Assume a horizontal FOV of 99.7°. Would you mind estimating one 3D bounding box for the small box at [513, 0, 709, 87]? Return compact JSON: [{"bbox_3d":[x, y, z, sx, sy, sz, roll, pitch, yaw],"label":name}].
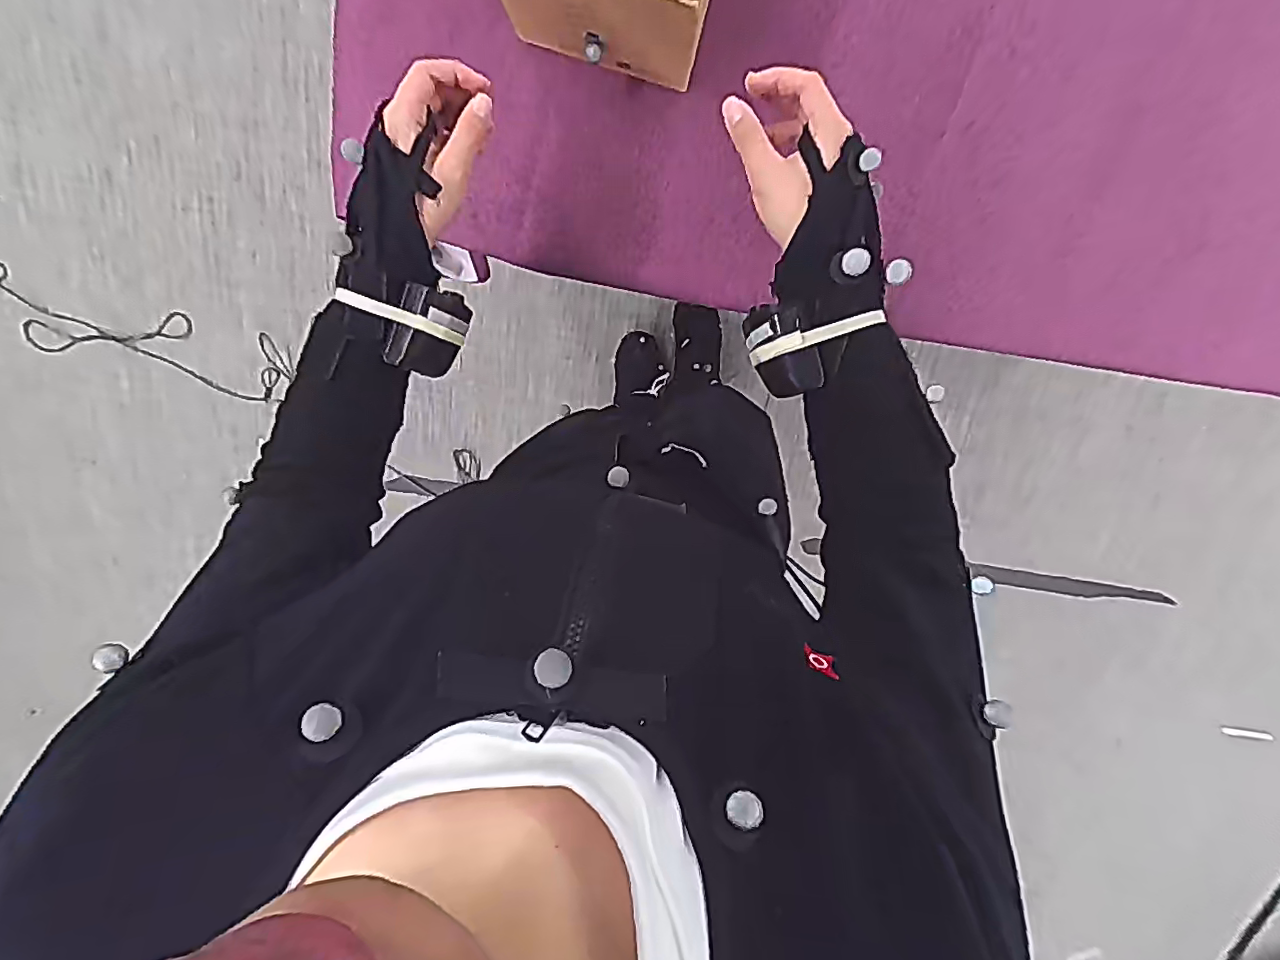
[{"bbox_3d":[-0.013,-0.451,0.415,0.168,0.176,0.179,15,108,-4],"label":"small box"}]
